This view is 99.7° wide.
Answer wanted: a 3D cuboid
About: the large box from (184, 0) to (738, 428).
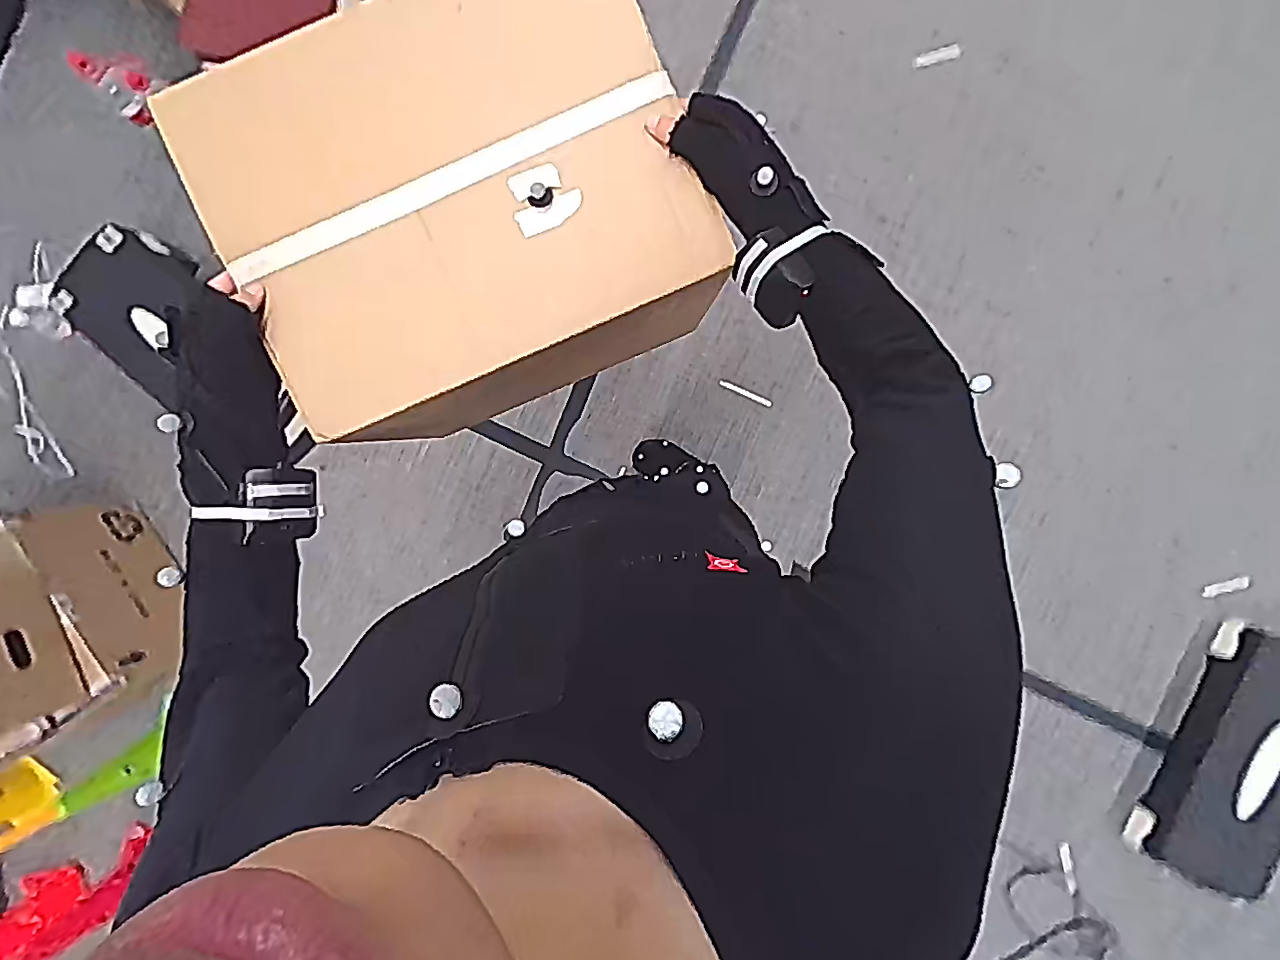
[{"bbox_3d":[-0.154,-0.276,0.614,0.408,0.320,0.320,-22,96,1],"label":"large box"}]
